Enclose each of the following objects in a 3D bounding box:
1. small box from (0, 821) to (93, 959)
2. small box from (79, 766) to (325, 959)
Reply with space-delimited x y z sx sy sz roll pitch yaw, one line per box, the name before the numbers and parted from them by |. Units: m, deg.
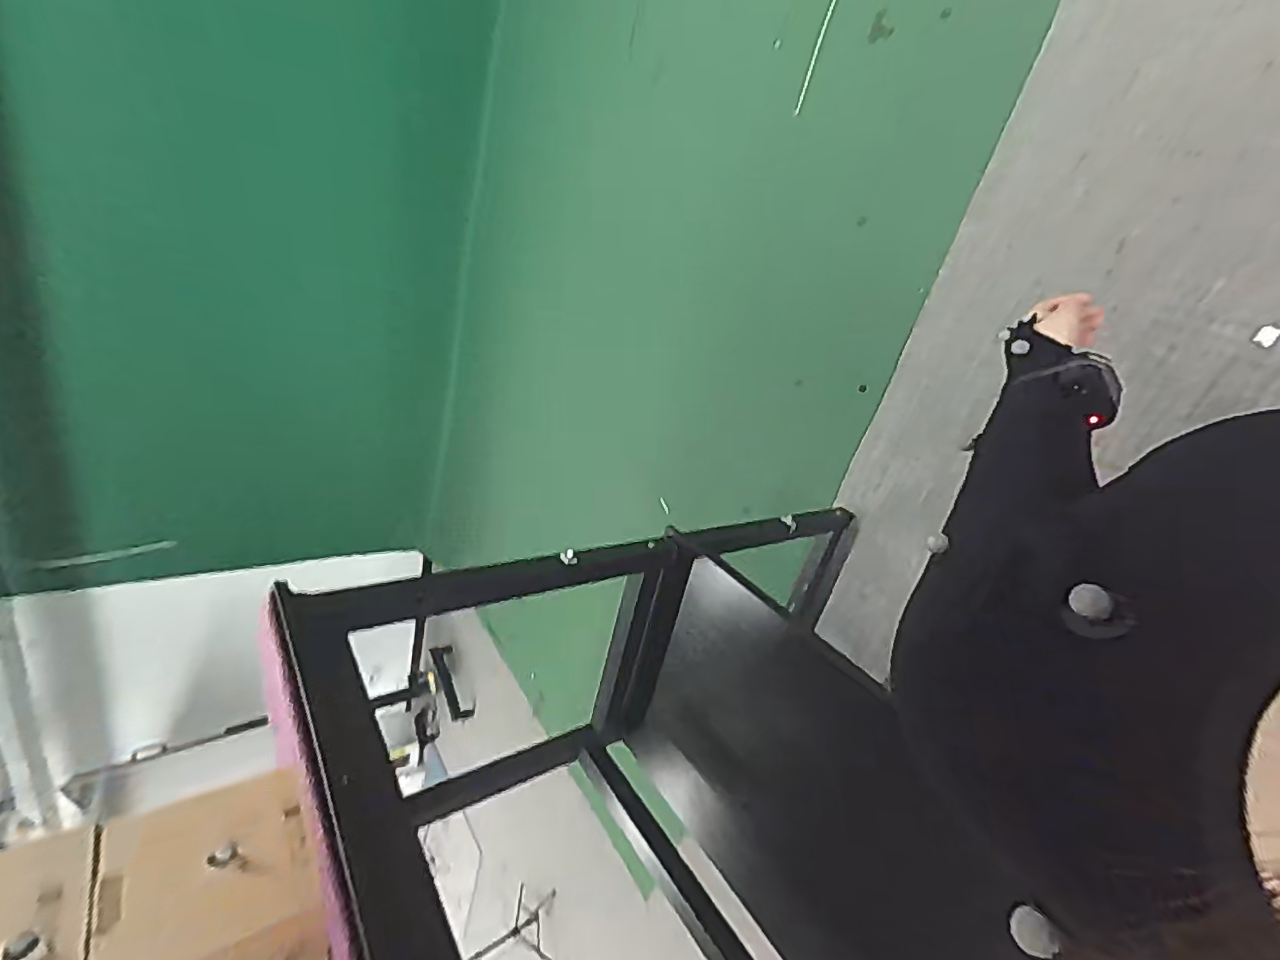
small box | -0.550 0.426 0.432 0.168 0.176 0.179 40 120 40
small box | -0.420 0.425 0.530 0.168 0.176 0.179 38 119 42
